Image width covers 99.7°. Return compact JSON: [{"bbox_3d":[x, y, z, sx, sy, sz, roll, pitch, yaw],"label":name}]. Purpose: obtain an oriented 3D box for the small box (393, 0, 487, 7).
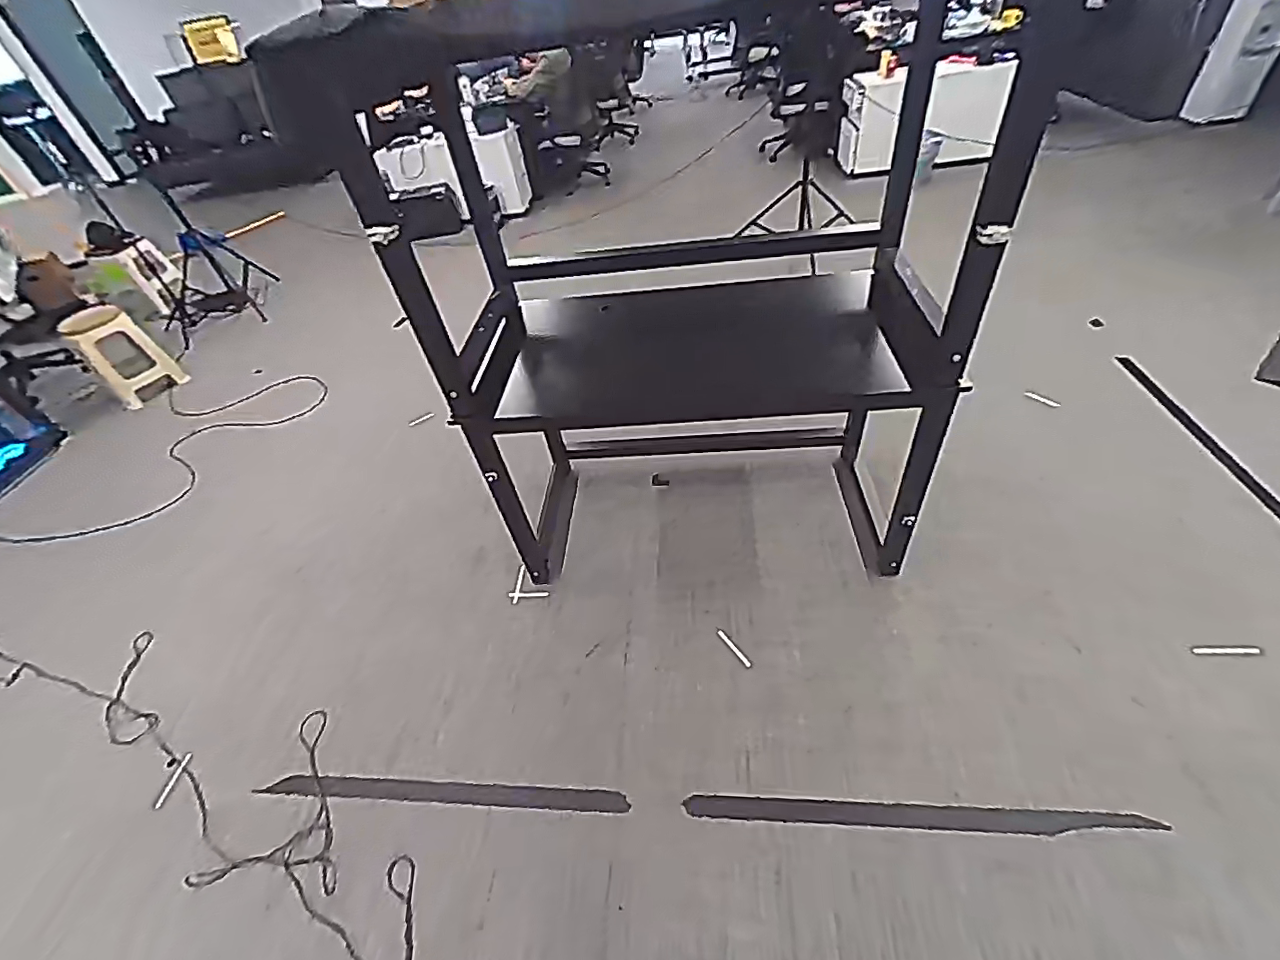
[{"bbox_3d":[-0.300,-0.831,0.812,0.168,0.176,0.179,-2,43,6],"label":"small box"}]
